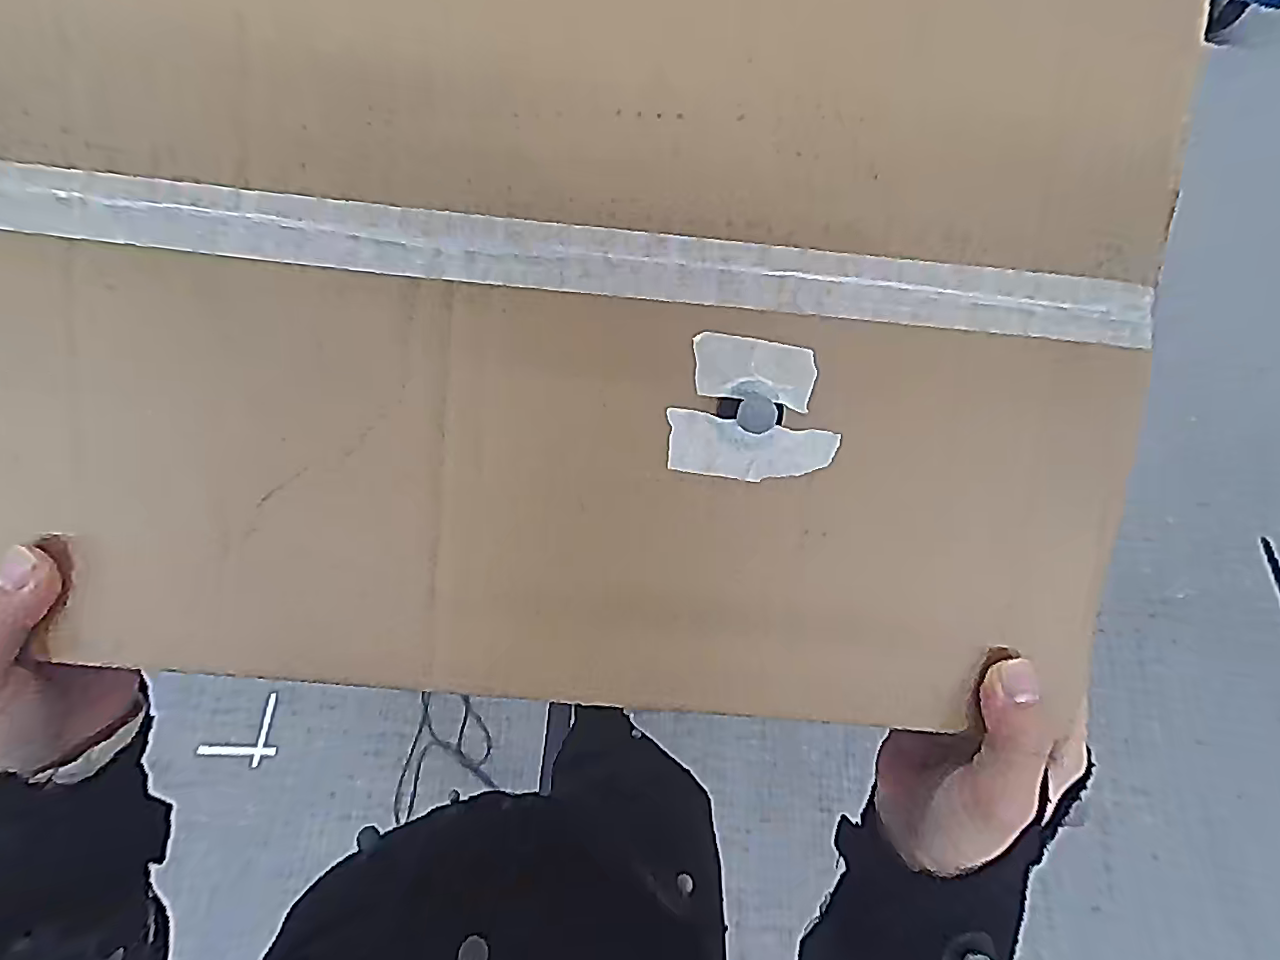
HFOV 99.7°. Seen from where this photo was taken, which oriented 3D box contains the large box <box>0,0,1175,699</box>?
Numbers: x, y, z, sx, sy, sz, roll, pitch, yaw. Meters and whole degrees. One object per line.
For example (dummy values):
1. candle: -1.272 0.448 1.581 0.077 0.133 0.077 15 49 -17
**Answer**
1. large box: -0.025 -0.091 0.342 0.408 0.320 0.320 5 96 -3
